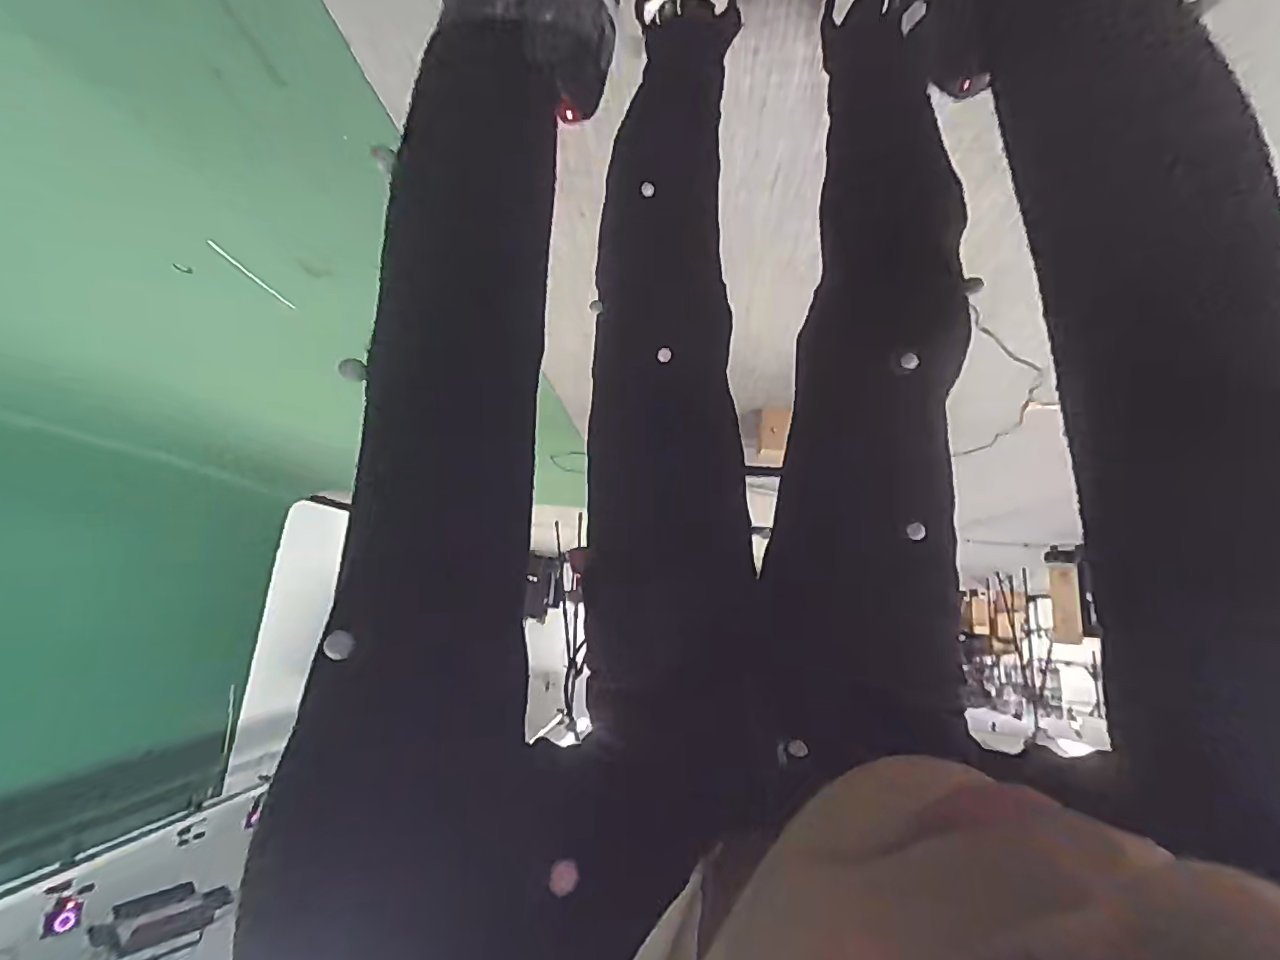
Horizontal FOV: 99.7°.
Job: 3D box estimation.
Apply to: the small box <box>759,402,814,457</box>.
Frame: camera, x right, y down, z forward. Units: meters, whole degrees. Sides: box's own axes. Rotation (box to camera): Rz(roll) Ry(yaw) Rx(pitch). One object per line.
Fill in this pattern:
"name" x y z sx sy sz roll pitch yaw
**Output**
"small box" 0.561 -0.194 2.078 0.179 0.176 0.168 3 169 6
